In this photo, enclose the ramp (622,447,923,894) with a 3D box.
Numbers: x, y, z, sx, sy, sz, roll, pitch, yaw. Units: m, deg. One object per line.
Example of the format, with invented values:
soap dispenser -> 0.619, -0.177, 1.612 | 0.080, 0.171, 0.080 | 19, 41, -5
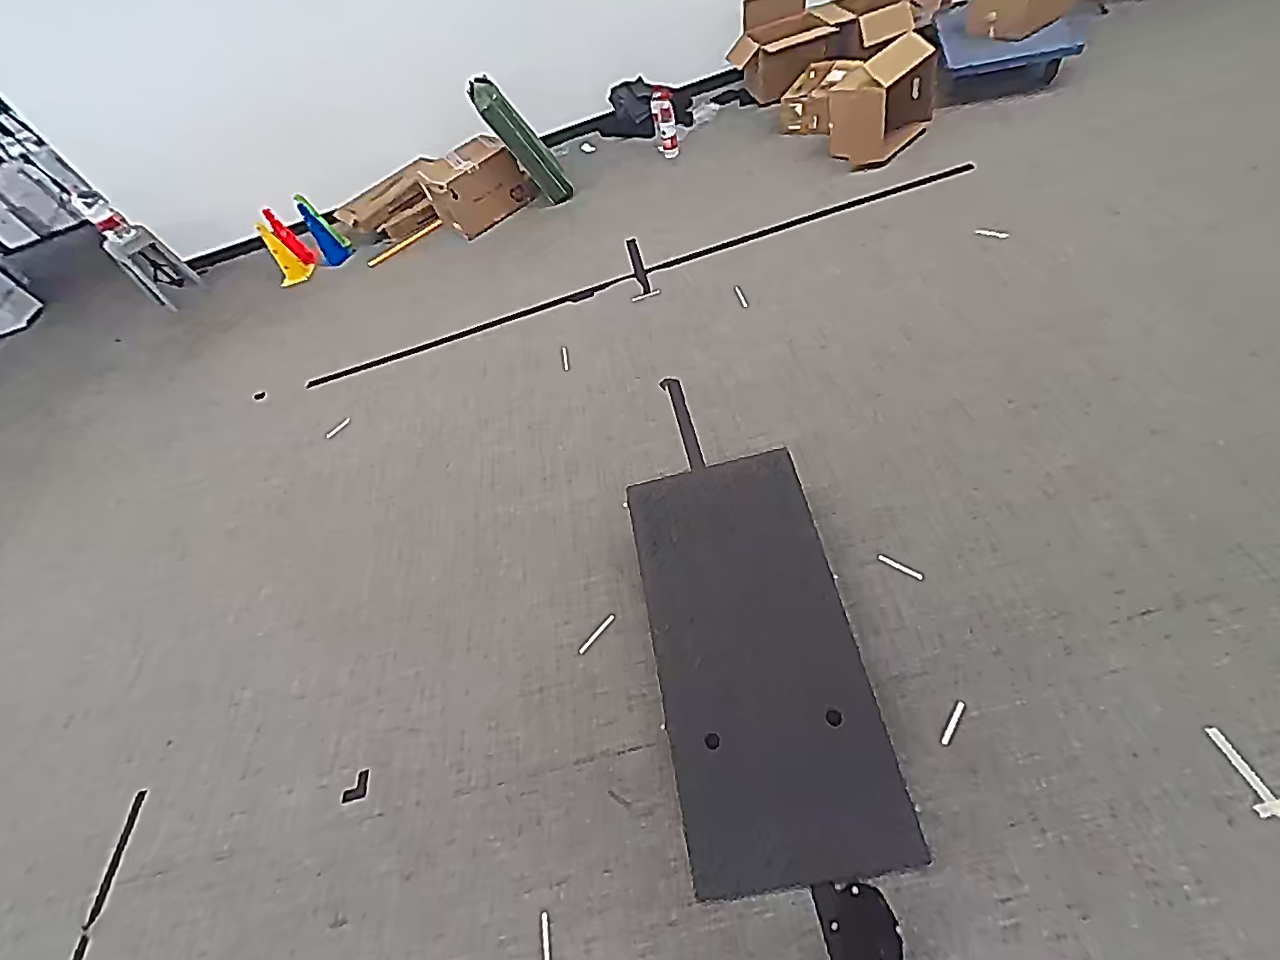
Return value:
ramp -> 0.268, 0.394, 1.359 | 0.509, 0.206, 0.991 | -15, 52, 4
